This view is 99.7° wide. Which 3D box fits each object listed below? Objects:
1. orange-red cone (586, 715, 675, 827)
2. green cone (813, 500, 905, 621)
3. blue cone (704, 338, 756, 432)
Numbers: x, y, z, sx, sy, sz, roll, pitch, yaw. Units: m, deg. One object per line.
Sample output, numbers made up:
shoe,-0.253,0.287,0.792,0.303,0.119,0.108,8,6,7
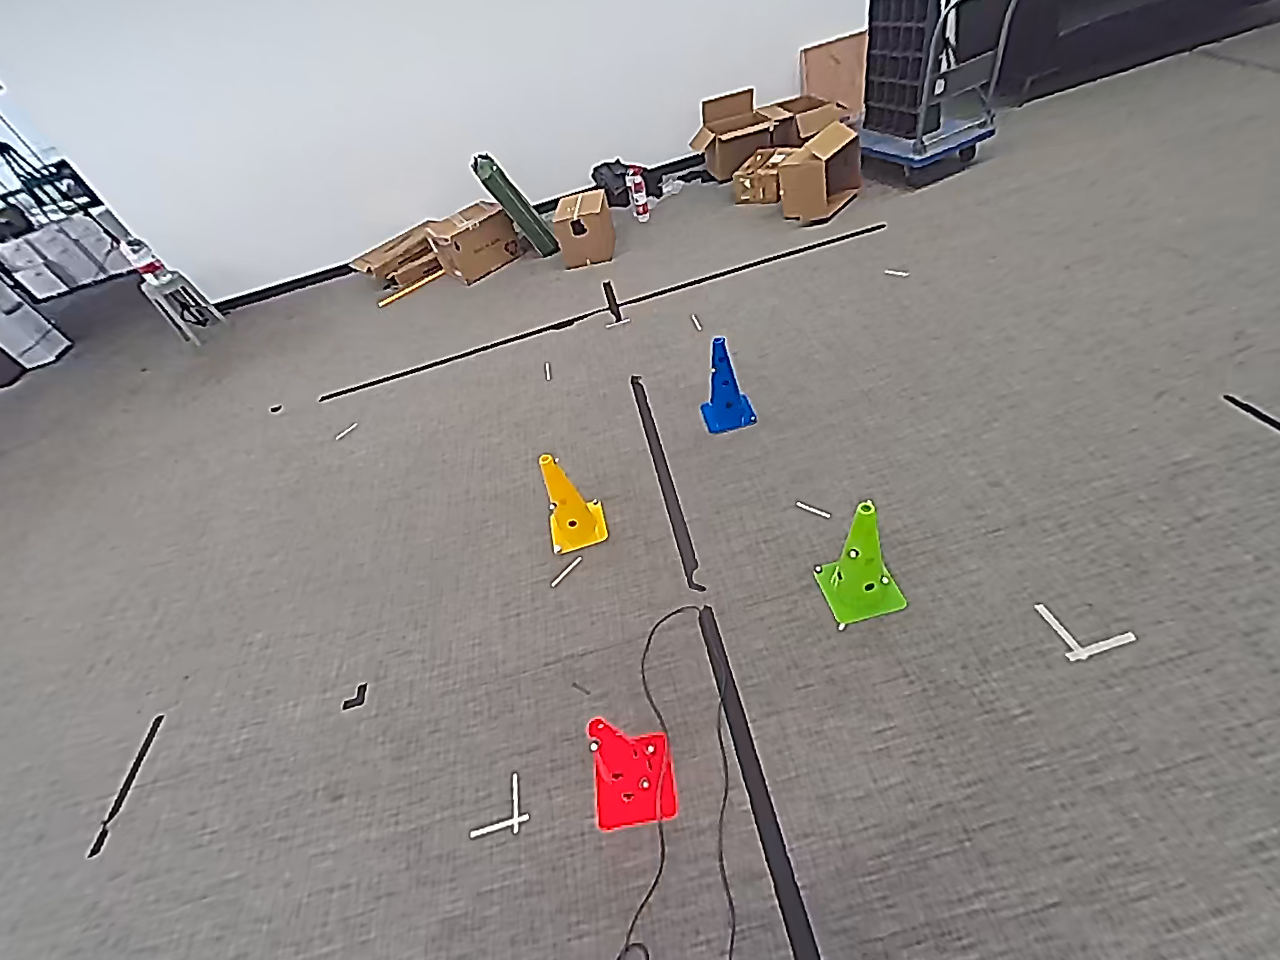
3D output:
orange-red cone,-0.056,0.626,1.232,0.199,0.360,0.198,-14,43,6
green cone,0.596,0.190,1.450,0.202,0.368,0.200,-15,44,1
blue cone,0.334,-0.385,2.118,0.192,0.380,0.193,-13,45,4
